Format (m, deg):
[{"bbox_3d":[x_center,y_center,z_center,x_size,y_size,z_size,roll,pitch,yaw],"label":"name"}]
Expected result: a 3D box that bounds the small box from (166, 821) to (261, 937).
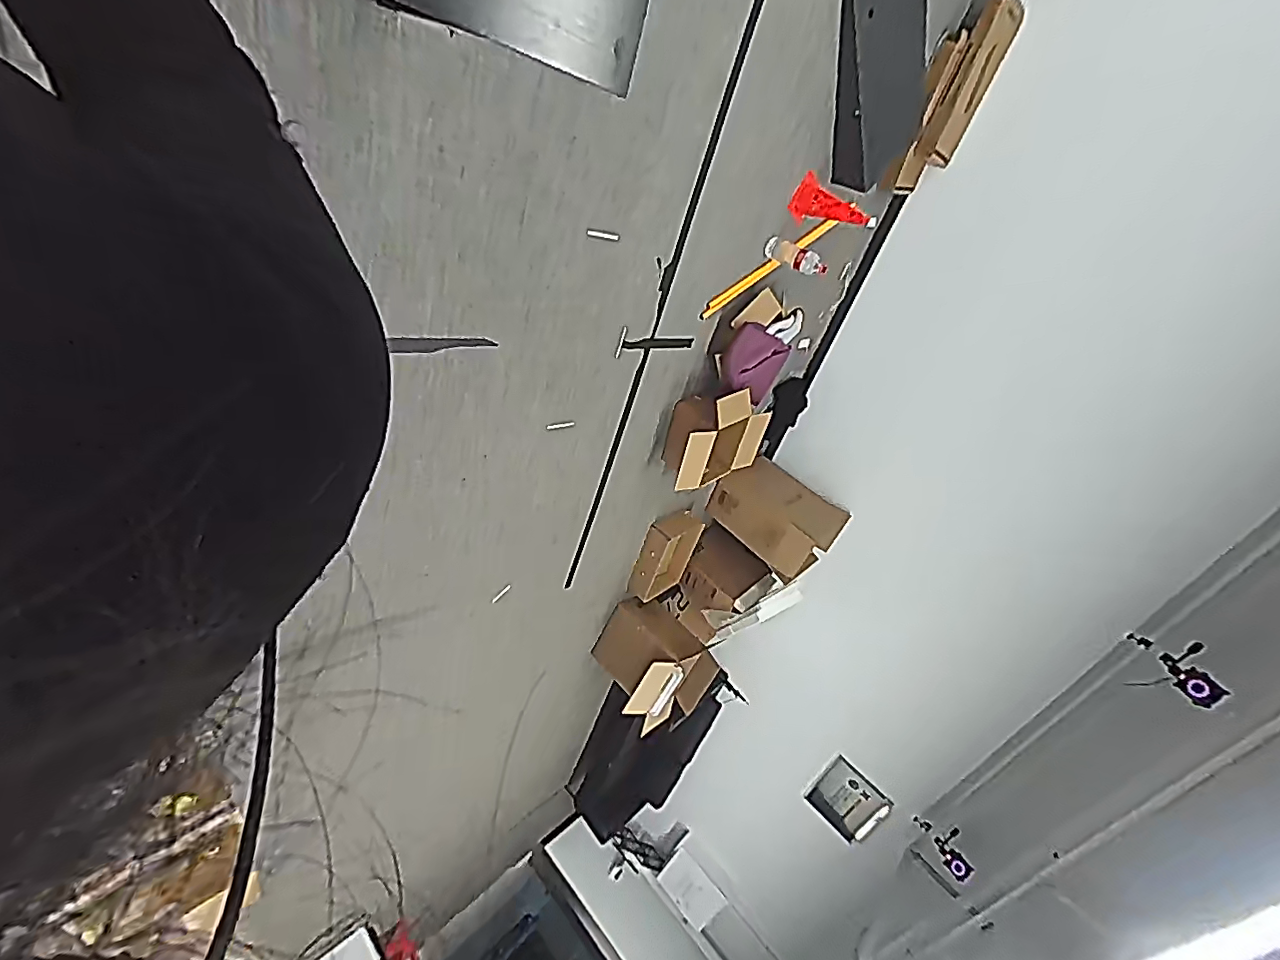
[{"bbox_3d":[-1.200,1.116,1.526,0.168,0.176,0.179,-20,135,-47],"label":"small box"}]
